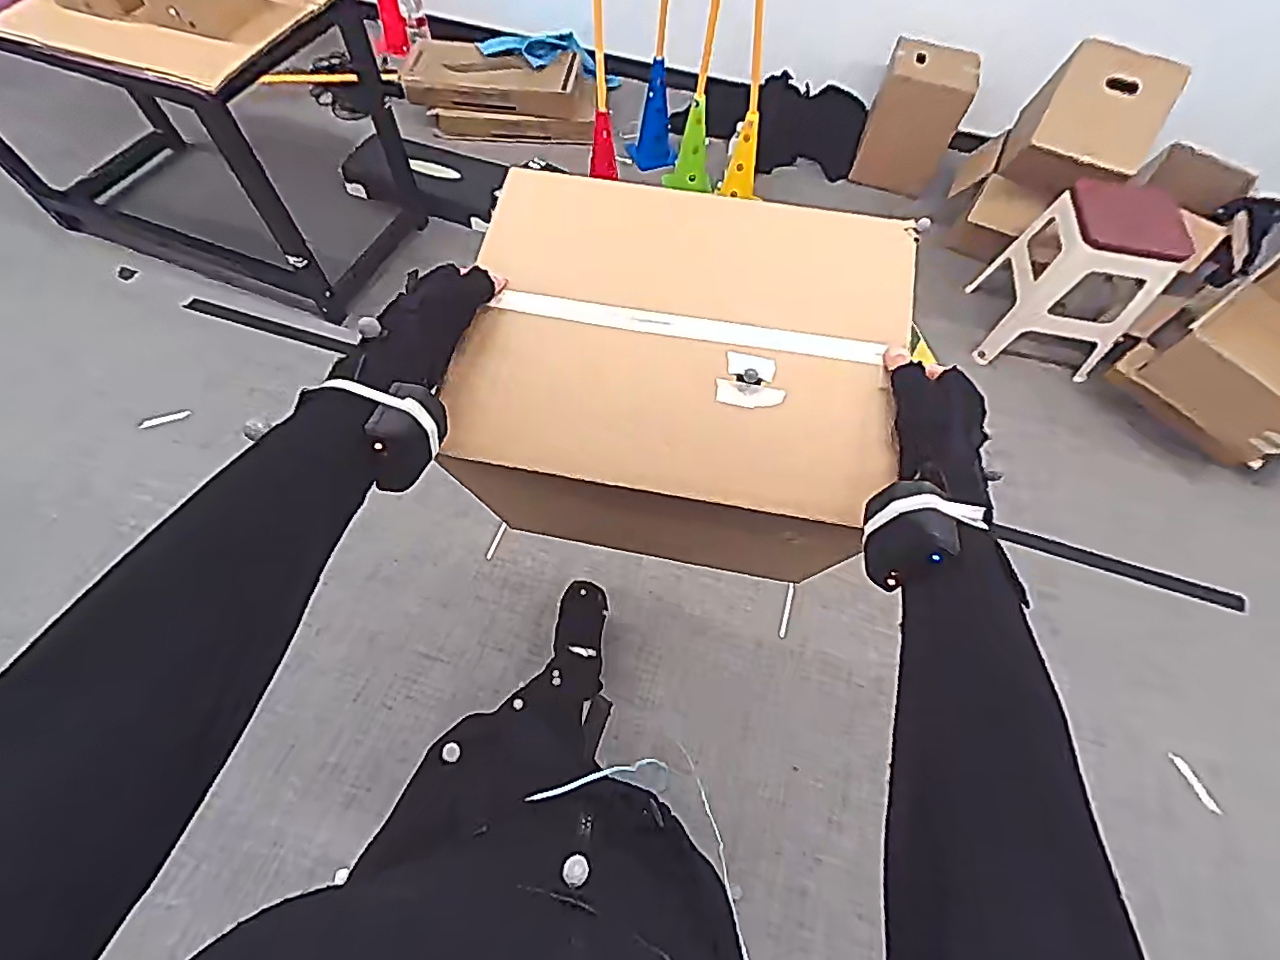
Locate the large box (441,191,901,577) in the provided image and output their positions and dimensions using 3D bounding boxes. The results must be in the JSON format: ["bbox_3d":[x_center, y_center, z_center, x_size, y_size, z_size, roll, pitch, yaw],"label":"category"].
[{"bbox_3d":[0.042,-0.087,0.653,0.408,0.320,0.320,10,73,4],"label":"large box"}]
